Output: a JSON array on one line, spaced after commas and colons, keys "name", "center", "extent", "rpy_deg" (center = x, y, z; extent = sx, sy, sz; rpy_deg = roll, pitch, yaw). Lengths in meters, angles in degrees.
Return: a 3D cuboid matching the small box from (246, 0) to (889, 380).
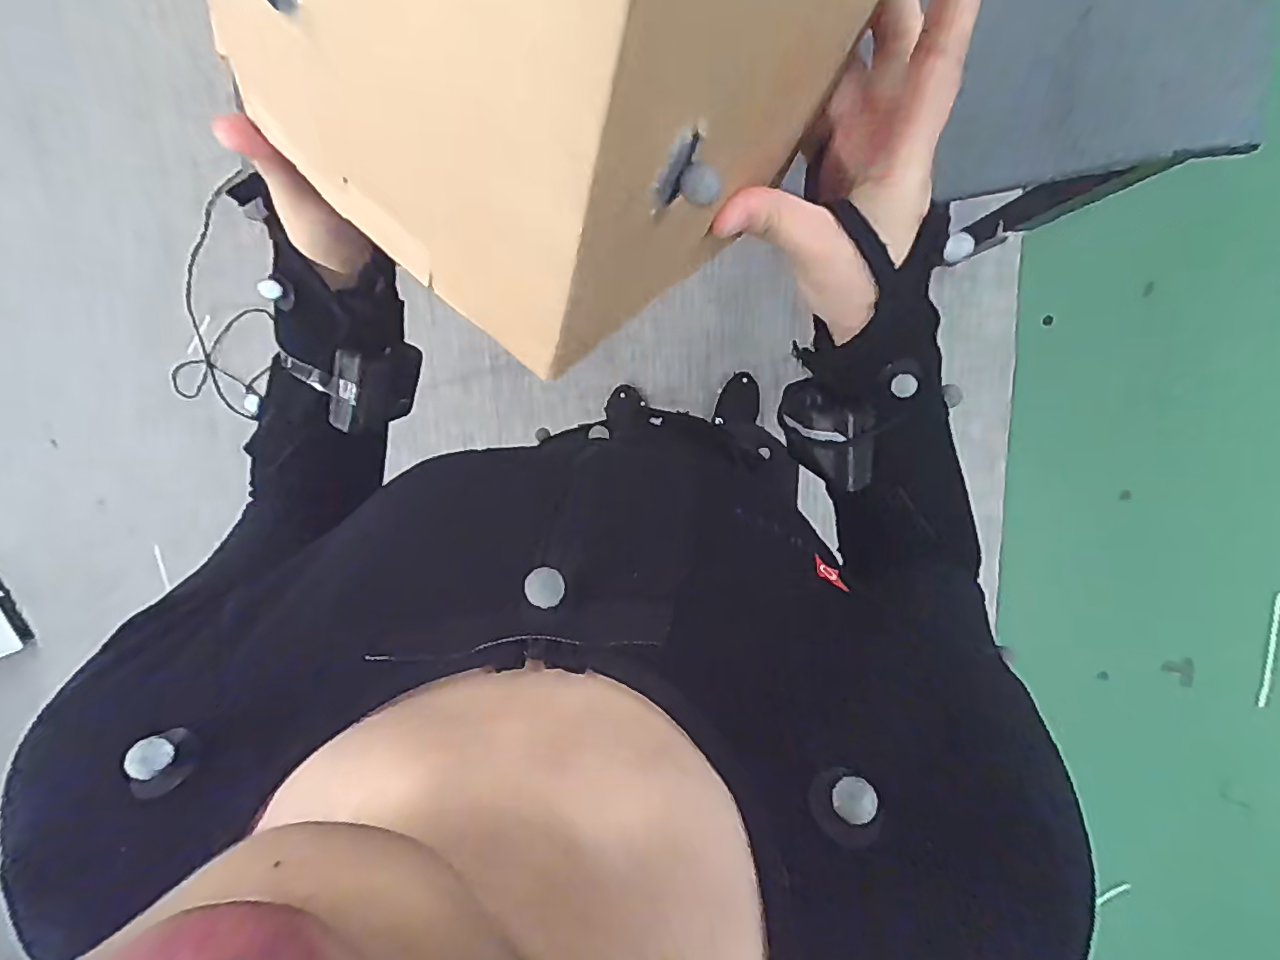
[{"name": "small box", "center": [-0.020, -0.176, 0.185], "extent": [0.168, 0.176, 0.179], "rpy_deg": [42, 61, 4]}]
